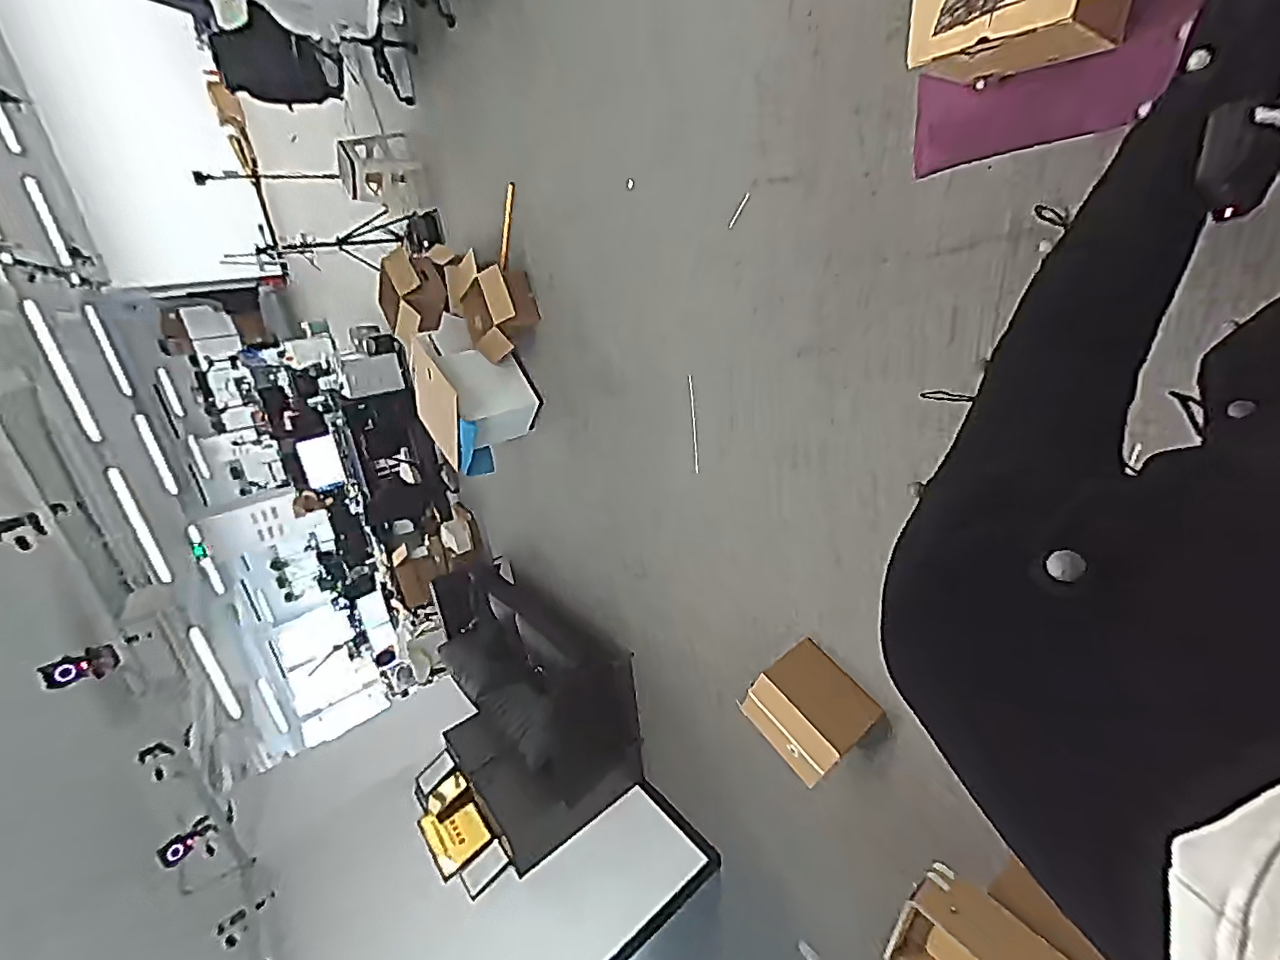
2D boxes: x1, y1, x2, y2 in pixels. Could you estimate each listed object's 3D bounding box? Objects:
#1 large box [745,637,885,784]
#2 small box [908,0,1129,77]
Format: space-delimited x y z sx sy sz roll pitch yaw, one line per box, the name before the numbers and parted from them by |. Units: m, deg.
large box | 0.717 0.946 2.253 0.408 0.320 0.320 42 140 31
small box | 0.423 -0.565 0.590 0.168 0.176 0.179 23 124 46
